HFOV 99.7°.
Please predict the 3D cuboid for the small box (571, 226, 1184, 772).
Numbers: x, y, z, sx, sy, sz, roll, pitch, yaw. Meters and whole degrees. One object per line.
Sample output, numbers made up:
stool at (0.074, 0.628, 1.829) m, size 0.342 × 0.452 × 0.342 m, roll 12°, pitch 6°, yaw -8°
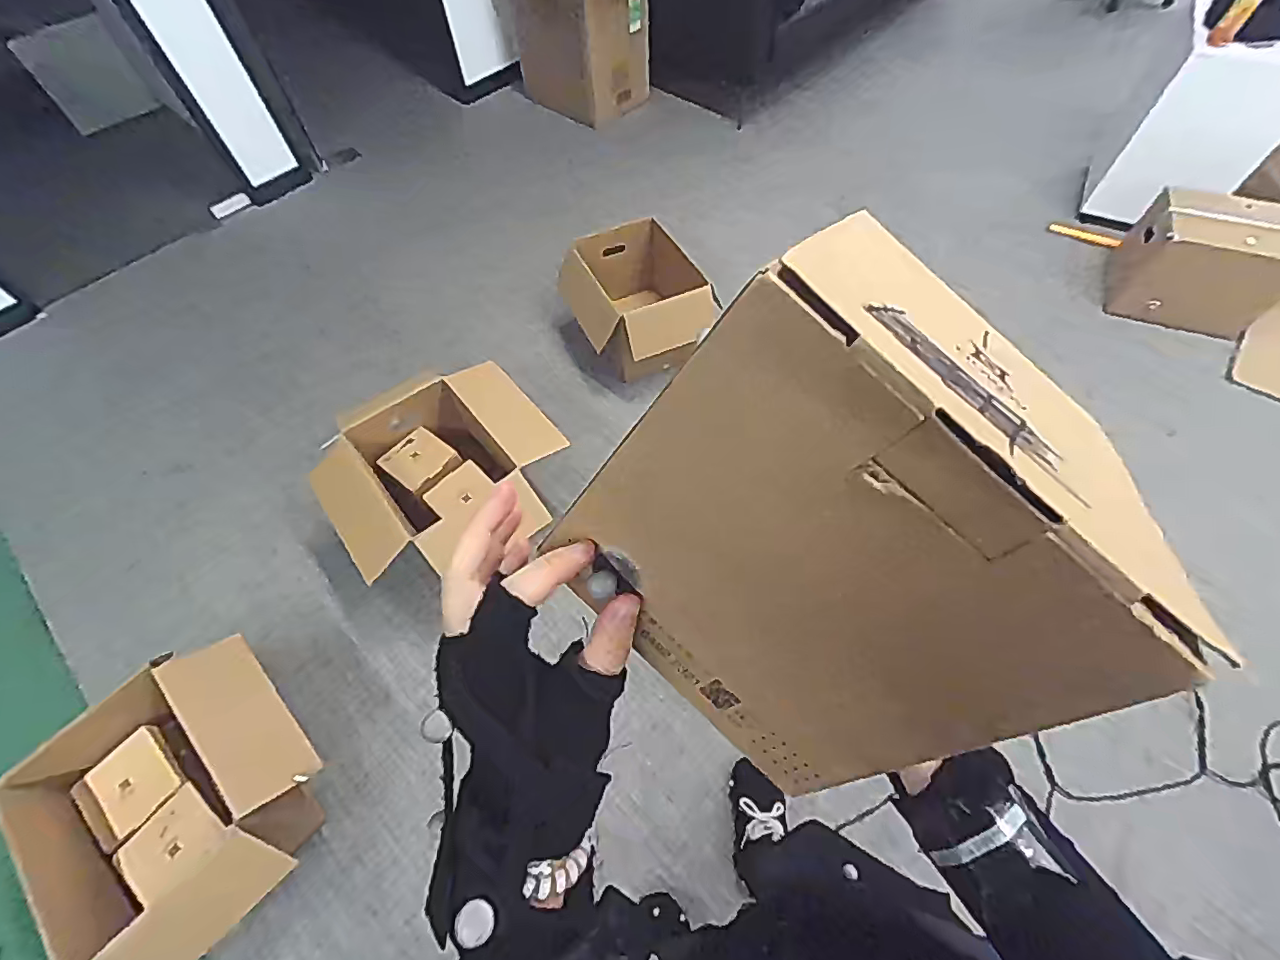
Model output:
small box at (0.089, 0.006, 0.269) m, size 0.168 × 0.176 × 0.179 m, roll 43°, pitch 39°, yaw 2°
